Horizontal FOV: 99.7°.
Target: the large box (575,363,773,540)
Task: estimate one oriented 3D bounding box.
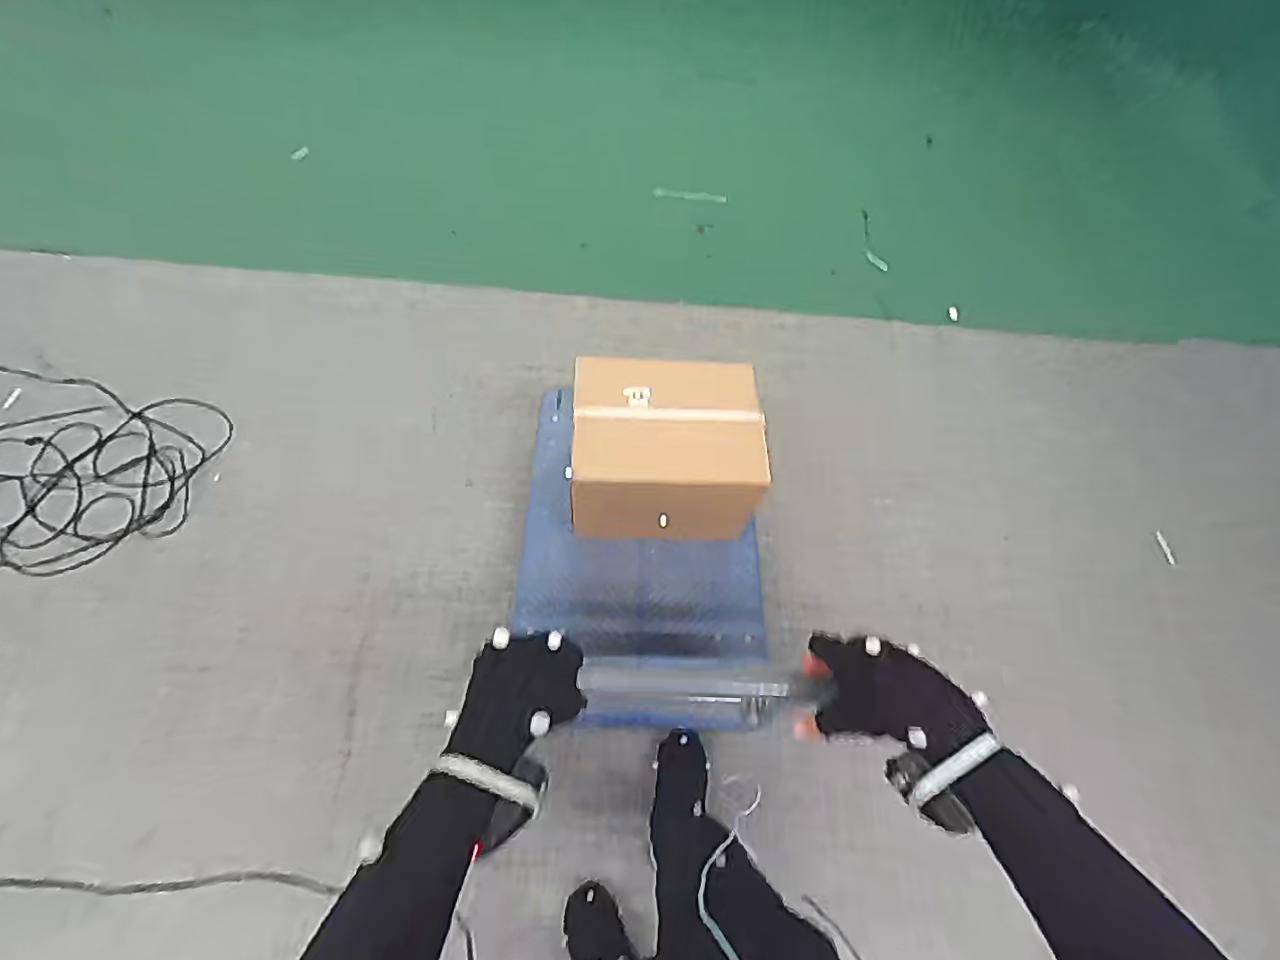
[{"bbox_3d":[0.059,-0.057,1.273,0.408,0.320,0.320,0,61,-4],"label":"large box"}]
